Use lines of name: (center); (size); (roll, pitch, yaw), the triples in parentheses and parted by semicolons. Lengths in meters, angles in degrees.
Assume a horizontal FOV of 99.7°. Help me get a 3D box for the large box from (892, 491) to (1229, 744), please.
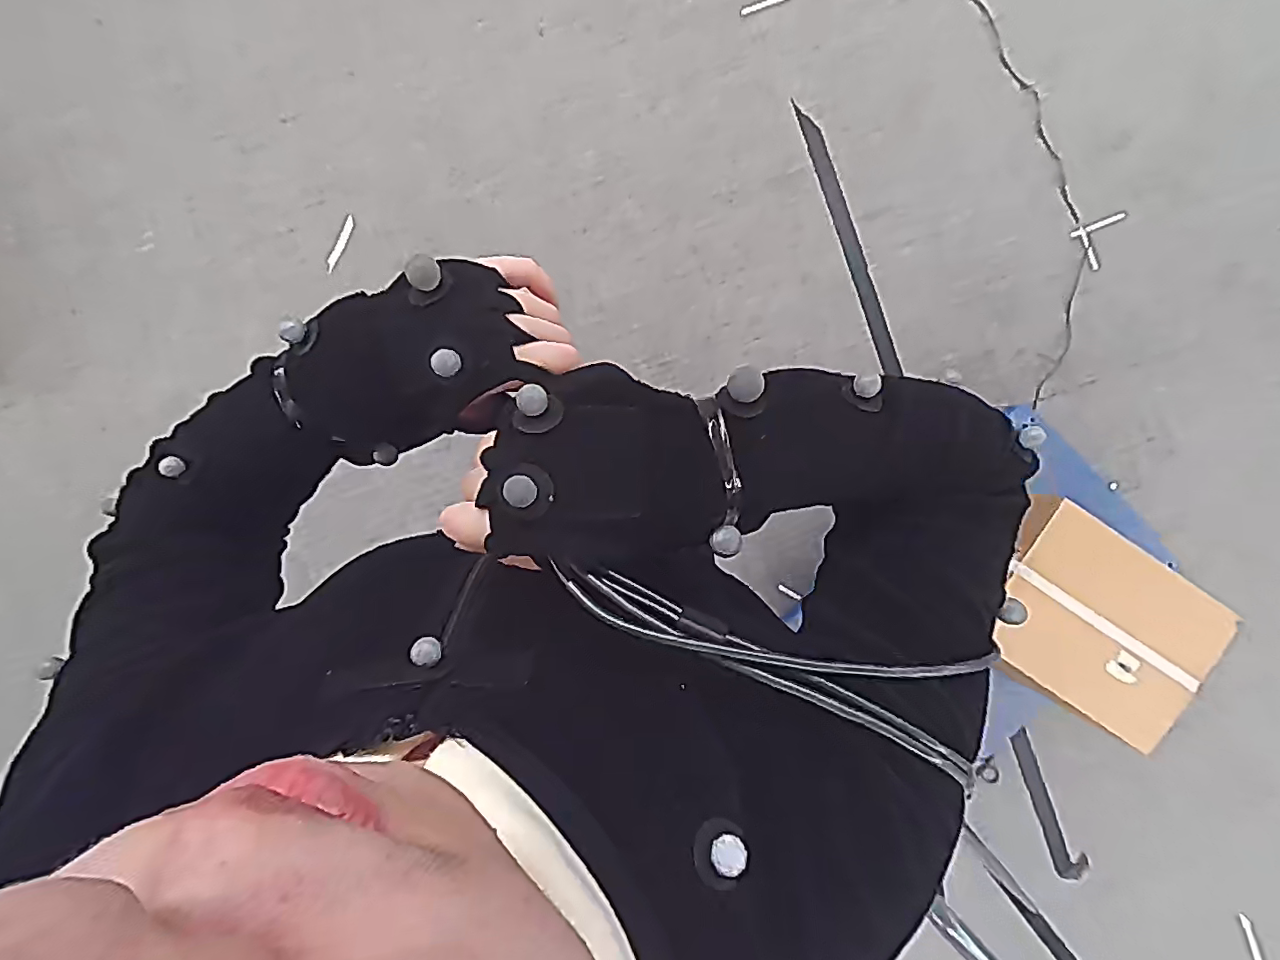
large box: (0.845, 0.257, 1.149); (0.408, 0.320, 0.320); (34, 92, -1)
